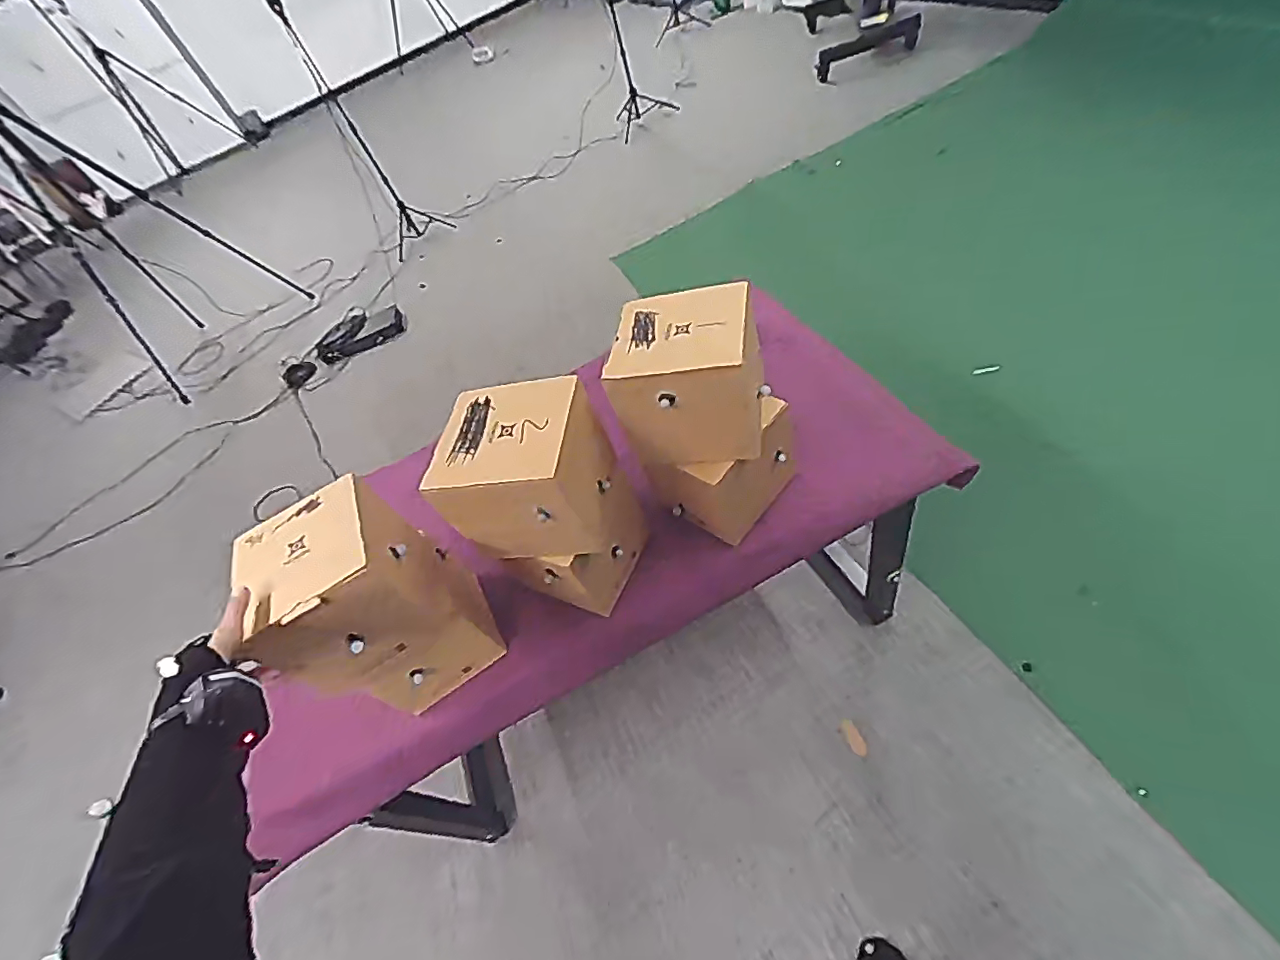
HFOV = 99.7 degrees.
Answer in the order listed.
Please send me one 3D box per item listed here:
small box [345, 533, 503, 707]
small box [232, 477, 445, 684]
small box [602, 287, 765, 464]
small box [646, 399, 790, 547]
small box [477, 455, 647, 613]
[{"bbox_3d":[-0.336,0.221,0.825,0.168,0.176,0.179,-34,49,-8],"label":"small box"},{"bbox_3d":[-0.375,0.136,0.690,0.168,0.176,0.179,-31,49,-6],"label":"small box"},{"bbox_3d":[0.070,-0.135,0.744,0.179,0.176,0.168,-2,51,19],"label":"small box"},{"bbox_3d":[0.123,-0.029,0.858,0.168,0.176,0.179,30,68,37],"label":"small box"},{"bbox_3d":[-0.109,0.087,0.847,0.179,0.176,0.168,13,58,28],"label":"small box"}]
